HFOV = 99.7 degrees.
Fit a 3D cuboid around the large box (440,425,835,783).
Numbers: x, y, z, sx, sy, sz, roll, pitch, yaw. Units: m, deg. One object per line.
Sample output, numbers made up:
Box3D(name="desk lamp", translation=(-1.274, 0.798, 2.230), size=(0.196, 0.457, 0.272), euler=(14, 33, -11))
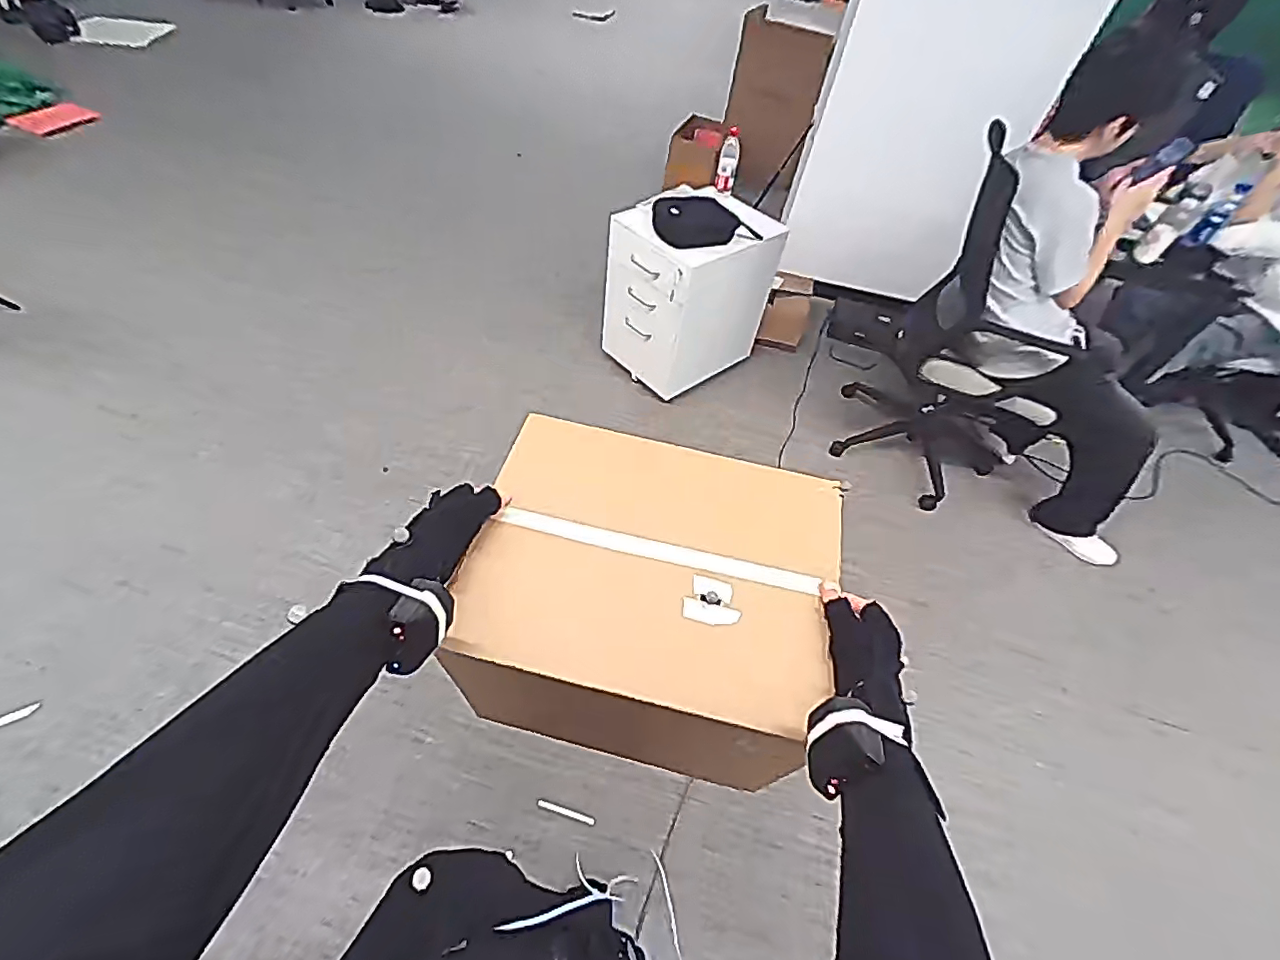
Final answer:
Box3D(name="large box", translation=(0.009, 0.174, 0.731), size=(0.408, 0.320, 0.320), euler=(14, 55, 4))
